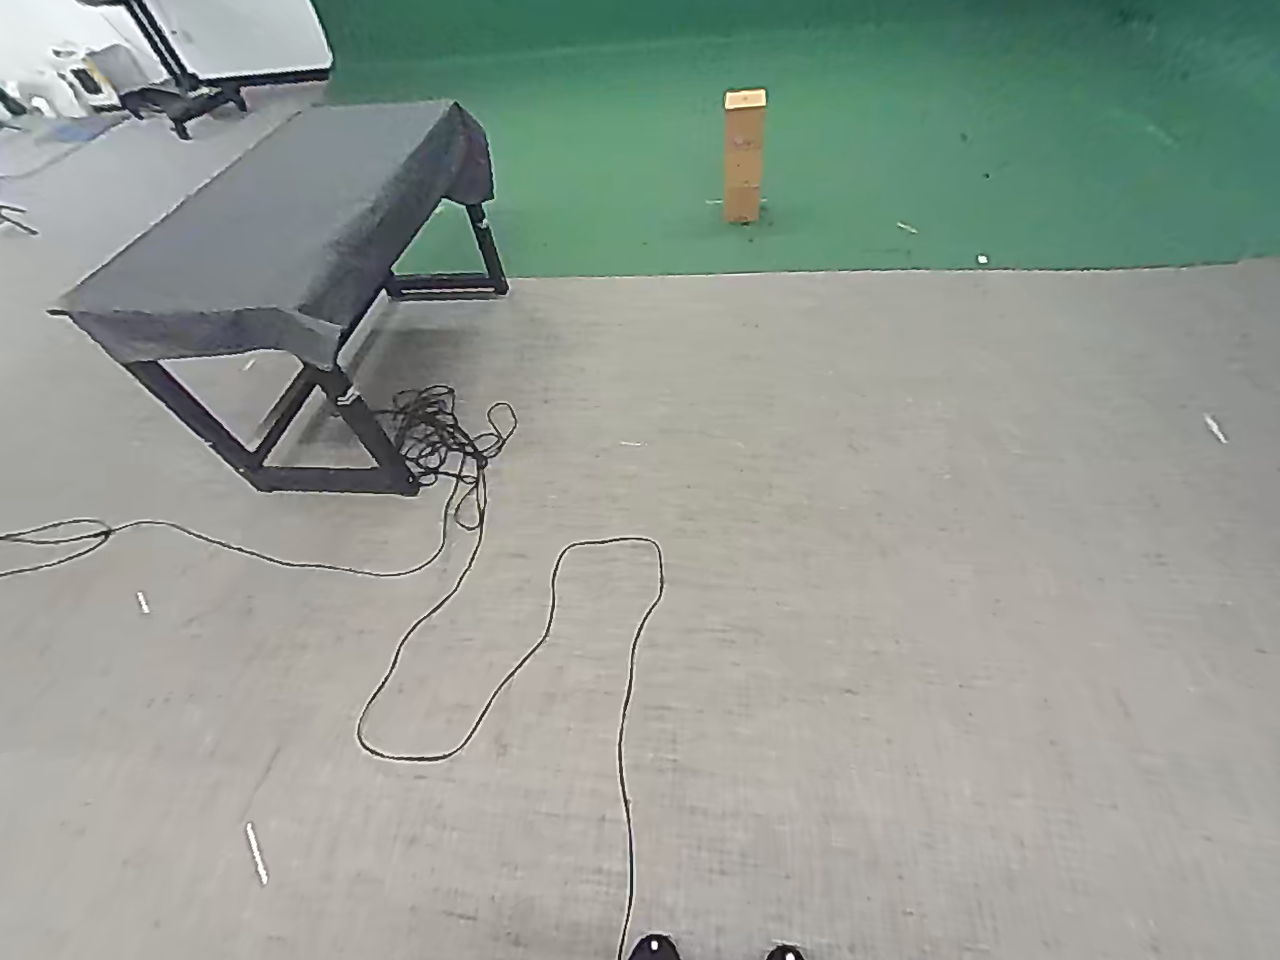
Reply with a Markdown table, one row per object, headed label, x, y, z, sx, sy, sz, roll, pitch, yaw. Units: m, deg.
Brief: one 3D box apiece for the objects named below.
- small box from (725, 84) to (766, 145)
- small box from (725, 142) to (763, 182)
| label | x | y | z | sx | sy | sz | roll | pitch | yaw |
| --- | --- | --- | --- | --- | --- | --- | --- | --- | --- |
| small box | 0.453 | -1.567 | 2.322 | 0.168 | 0.176 | 0.179 | 1 | 54 | 9 |
| small box | 0.474 | -1.474 | 2.454 | 0.168 | 0.176 | 0.179 | 3 | 53 | 10 |
